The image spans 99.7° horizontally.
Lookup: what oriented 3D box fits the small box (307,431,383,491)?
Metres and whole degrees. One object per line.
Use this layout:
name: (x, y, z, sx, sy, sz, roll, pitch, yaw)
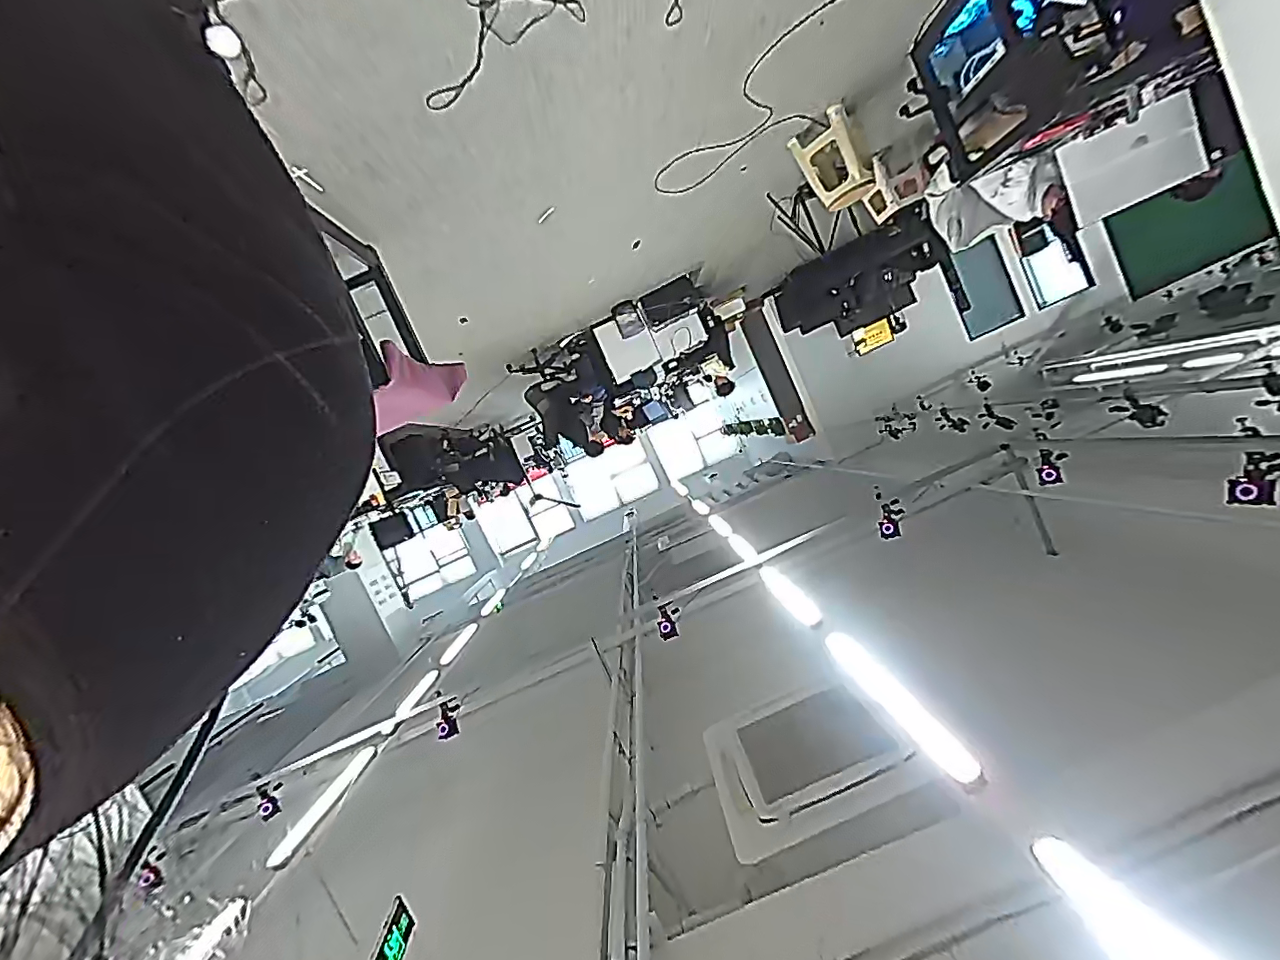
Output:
small box: (-1.117, -0.073, 2.042, 0.179, 0.176, 0.168, -26, -176, -3)
